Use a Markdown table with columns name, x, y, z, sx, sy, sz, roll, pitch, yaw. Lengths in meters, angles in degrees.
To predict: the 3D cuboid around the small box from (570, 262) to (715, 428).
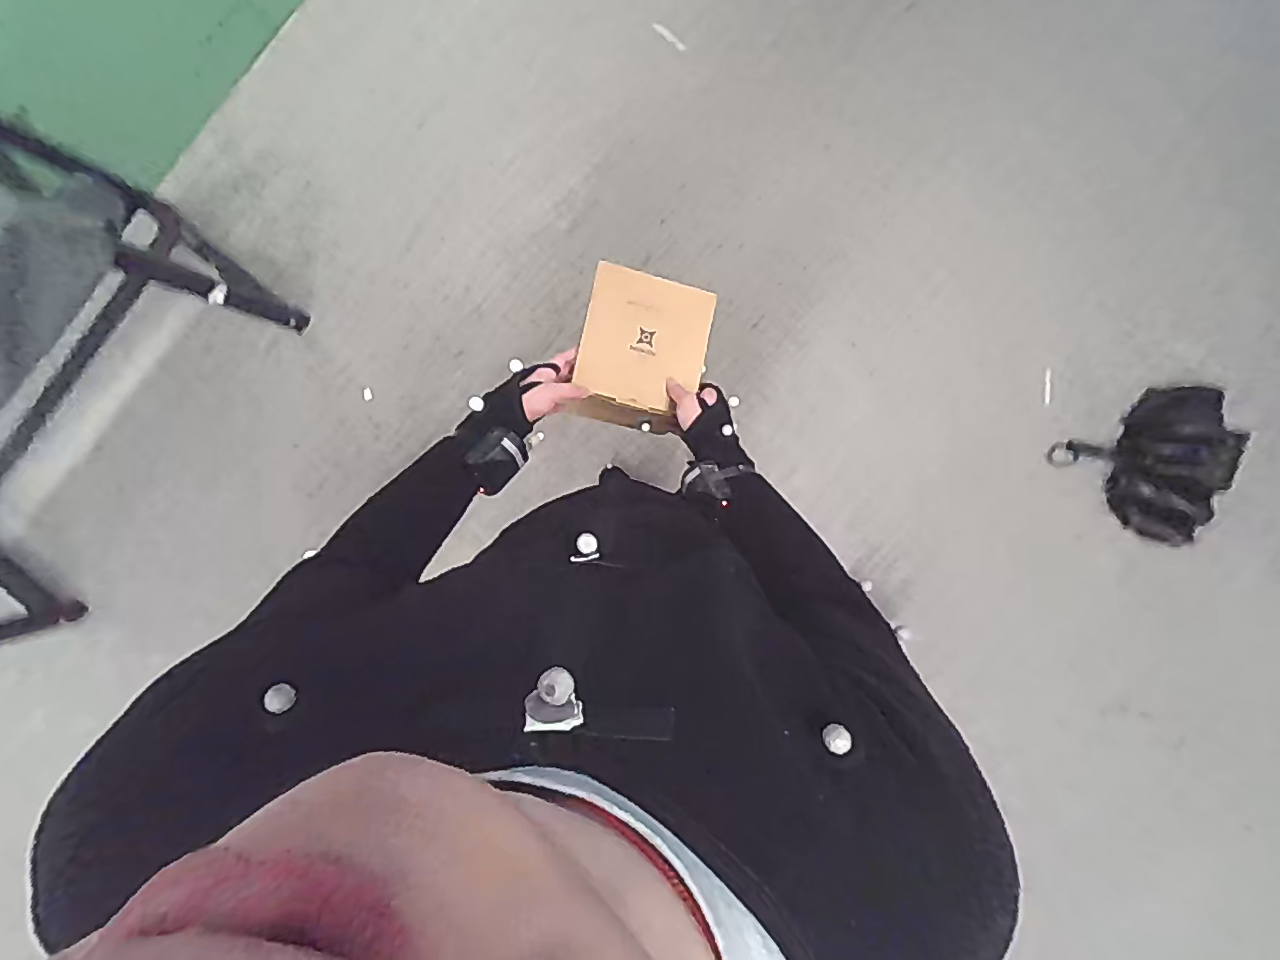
| name | x | y | z | sx | sy | sz | roll | pitch | yaw |
| --- | --- | --- | --- | --- | --- | --- | --- | --- | --- |
| small box | -0.006 | -0.182 | 0.790 | 0.168 | 0.176 | 0.179 | 11 | 85 | -11 |
